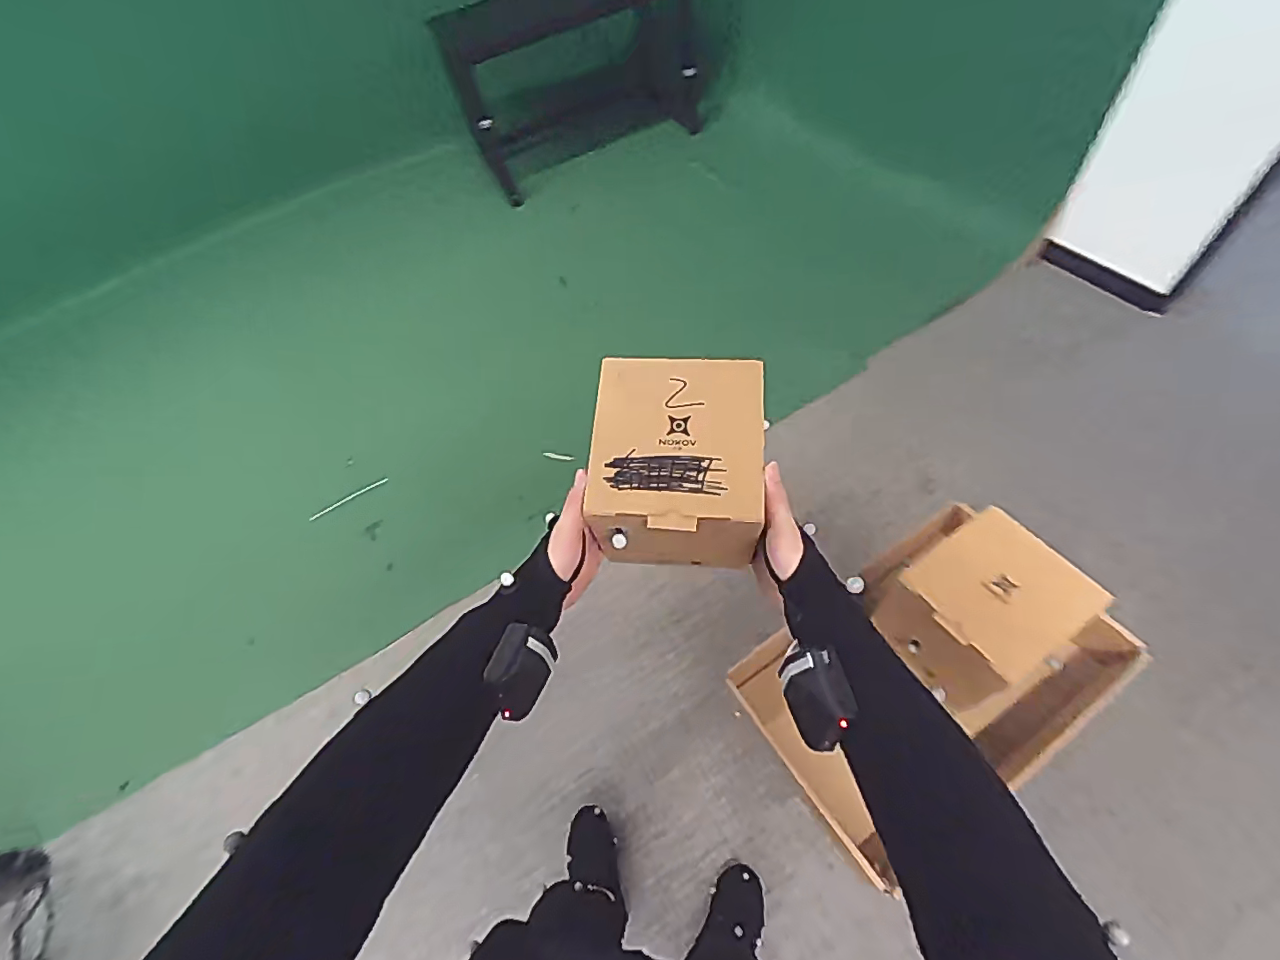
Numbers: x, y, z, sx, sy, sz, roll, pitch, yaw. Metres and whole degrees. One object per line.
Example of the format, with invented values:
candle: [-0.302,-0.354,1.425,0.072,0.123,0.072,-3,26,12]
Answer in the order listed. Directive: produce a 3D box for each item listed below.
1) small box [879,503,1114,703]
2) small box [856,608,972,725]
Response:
small box: [0.455,0.168,0.725,0.179,0.176,0.168,-32,59,-12]
small box: [0.473,0.258,0.858,0.179,0.176,0.168,-32,58,-12]
